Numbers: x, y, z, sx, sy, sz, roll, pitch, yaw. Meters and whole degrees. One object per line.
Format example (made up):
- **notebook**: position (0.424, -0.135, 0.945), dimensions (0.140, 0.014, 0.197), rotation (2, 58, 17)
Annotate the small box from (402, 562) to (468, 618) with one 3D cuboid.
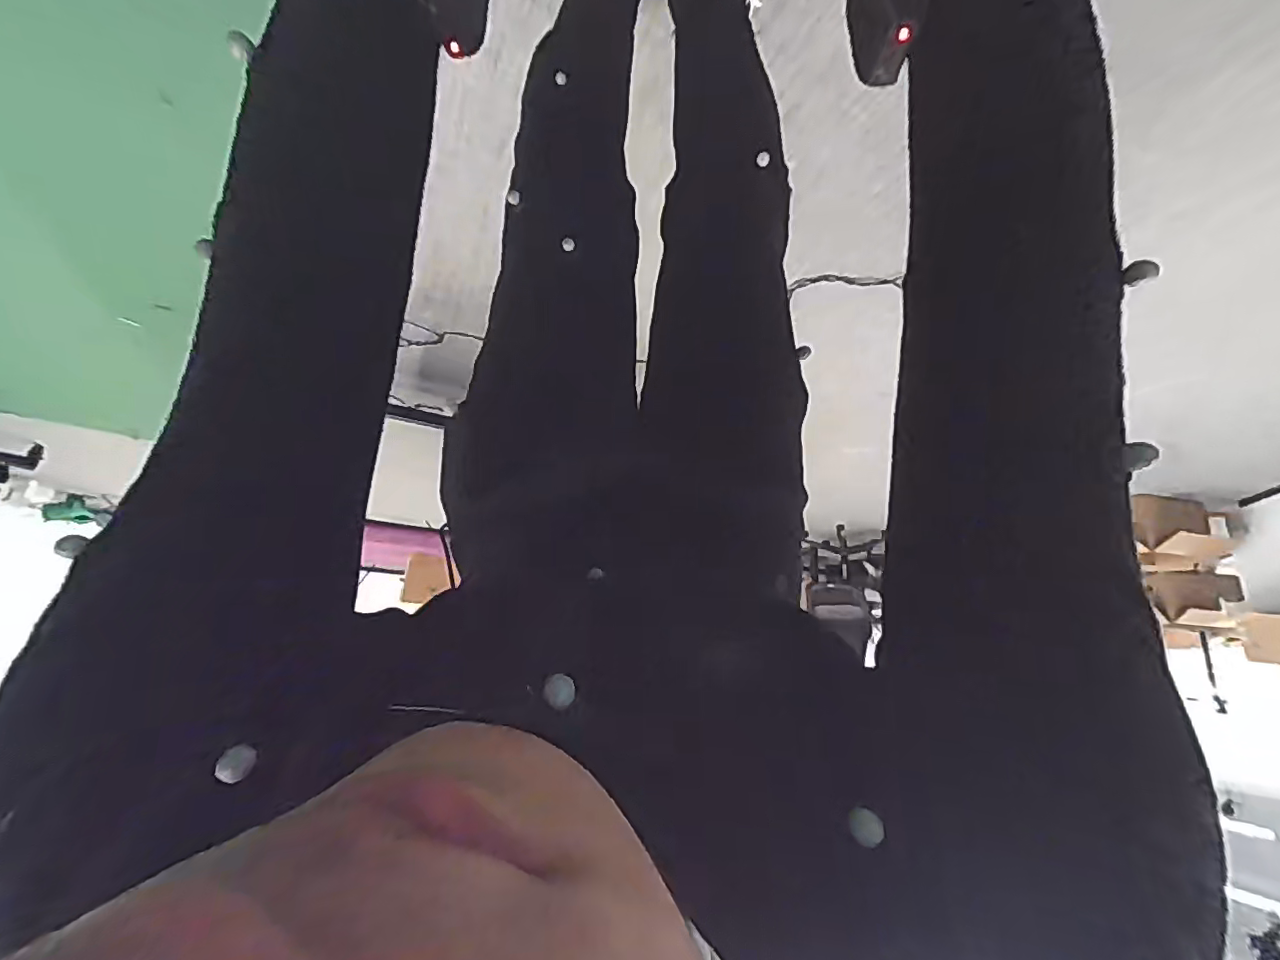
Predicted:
- **small box**: position (-0.706, 0.377, 1.858), dimensions (0.179, 0.176, 0.168), rotation (11, 161, -24)
